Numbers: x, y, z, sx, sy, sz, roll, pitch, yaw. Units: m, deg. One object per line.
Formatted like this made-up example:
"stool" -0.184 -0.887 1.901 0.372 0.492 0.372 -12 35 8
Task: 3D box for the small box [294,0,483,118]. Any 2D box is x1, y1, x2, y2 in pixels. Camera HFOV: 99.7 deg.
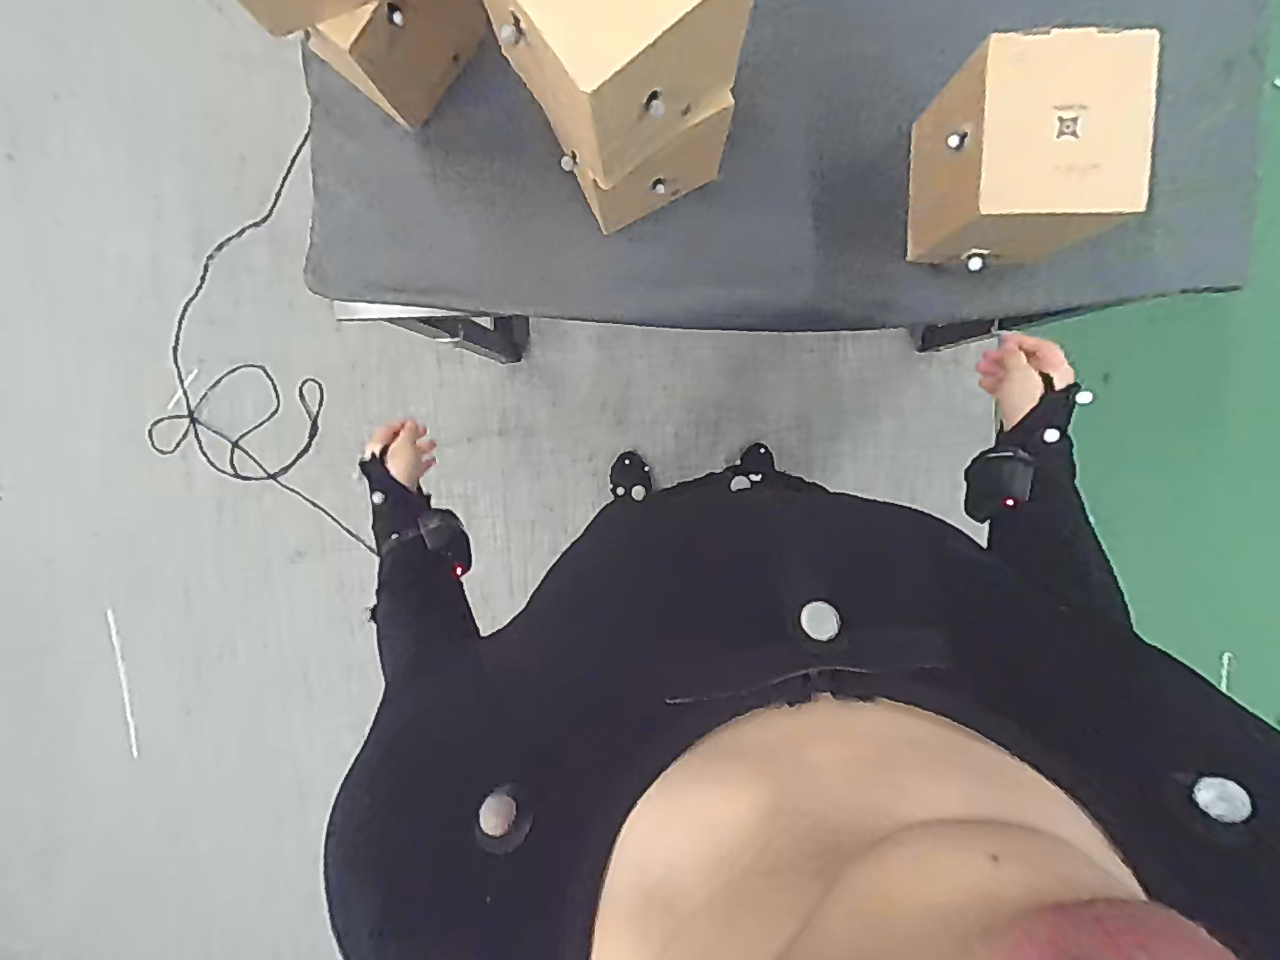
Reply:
"small box" -0.314 -0.568 0.615 0.179 0.176 0.168 39 96 -3

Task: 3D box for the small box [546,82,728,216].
"small box" -0.015 -0.433 0.620 0.168 0.176 0.179 -26 95 4

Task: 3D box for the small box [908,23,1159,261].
"small box" 0.424 -0.365 0.614 0.168 0.176 0.179 0 96 3

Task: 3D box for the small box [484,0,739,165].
"small box" -0.026 -0.408 0.460 0.168 0.176 0.179 -37 93 6
